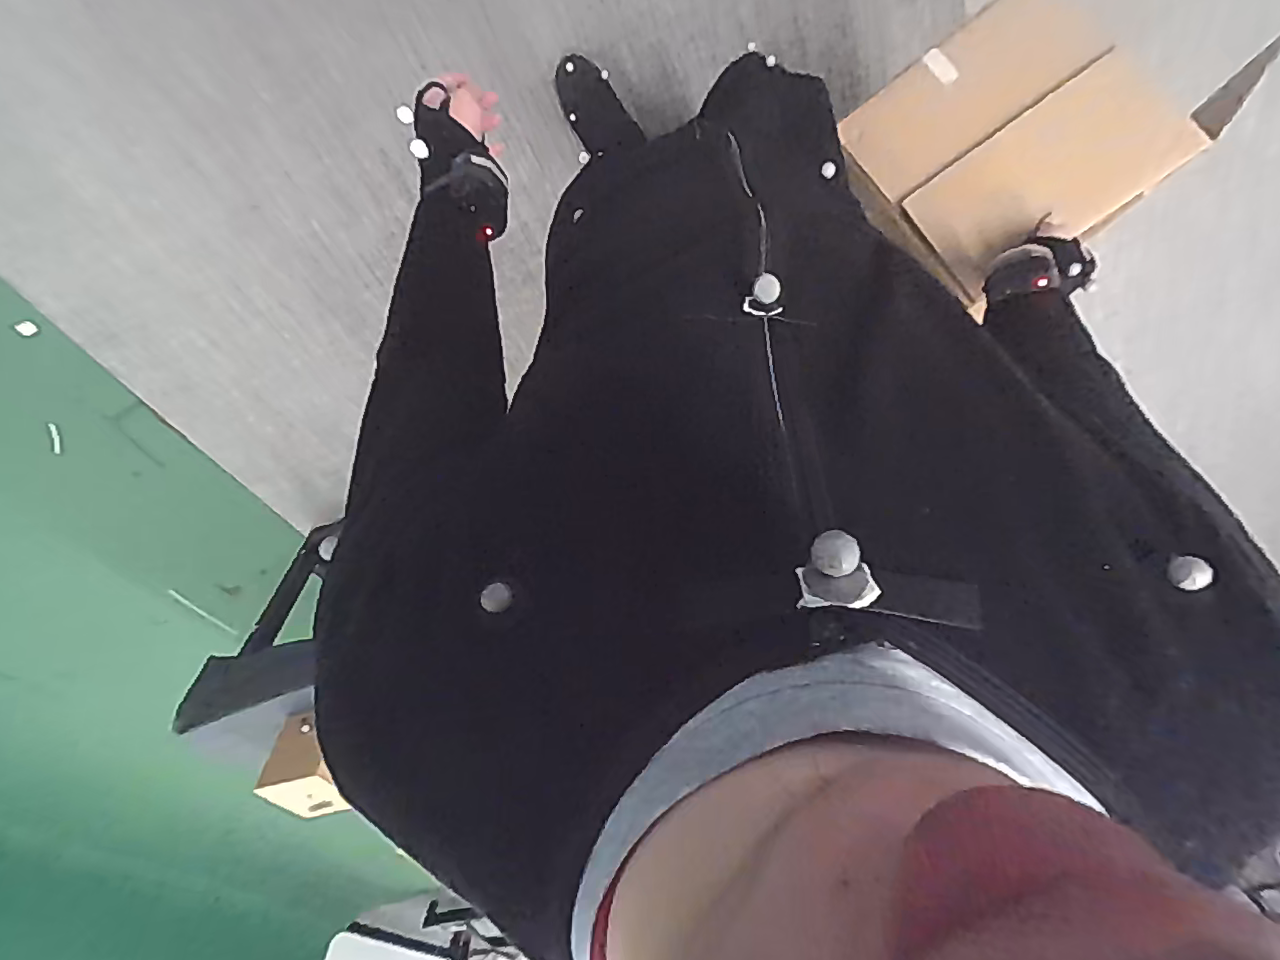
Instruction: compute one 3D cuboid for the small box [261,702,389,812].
[{"bbox_3d":[-0.732,0.655,1.283,0.168,0.176,0.179,-16,127,9],"label":"small box"}]
